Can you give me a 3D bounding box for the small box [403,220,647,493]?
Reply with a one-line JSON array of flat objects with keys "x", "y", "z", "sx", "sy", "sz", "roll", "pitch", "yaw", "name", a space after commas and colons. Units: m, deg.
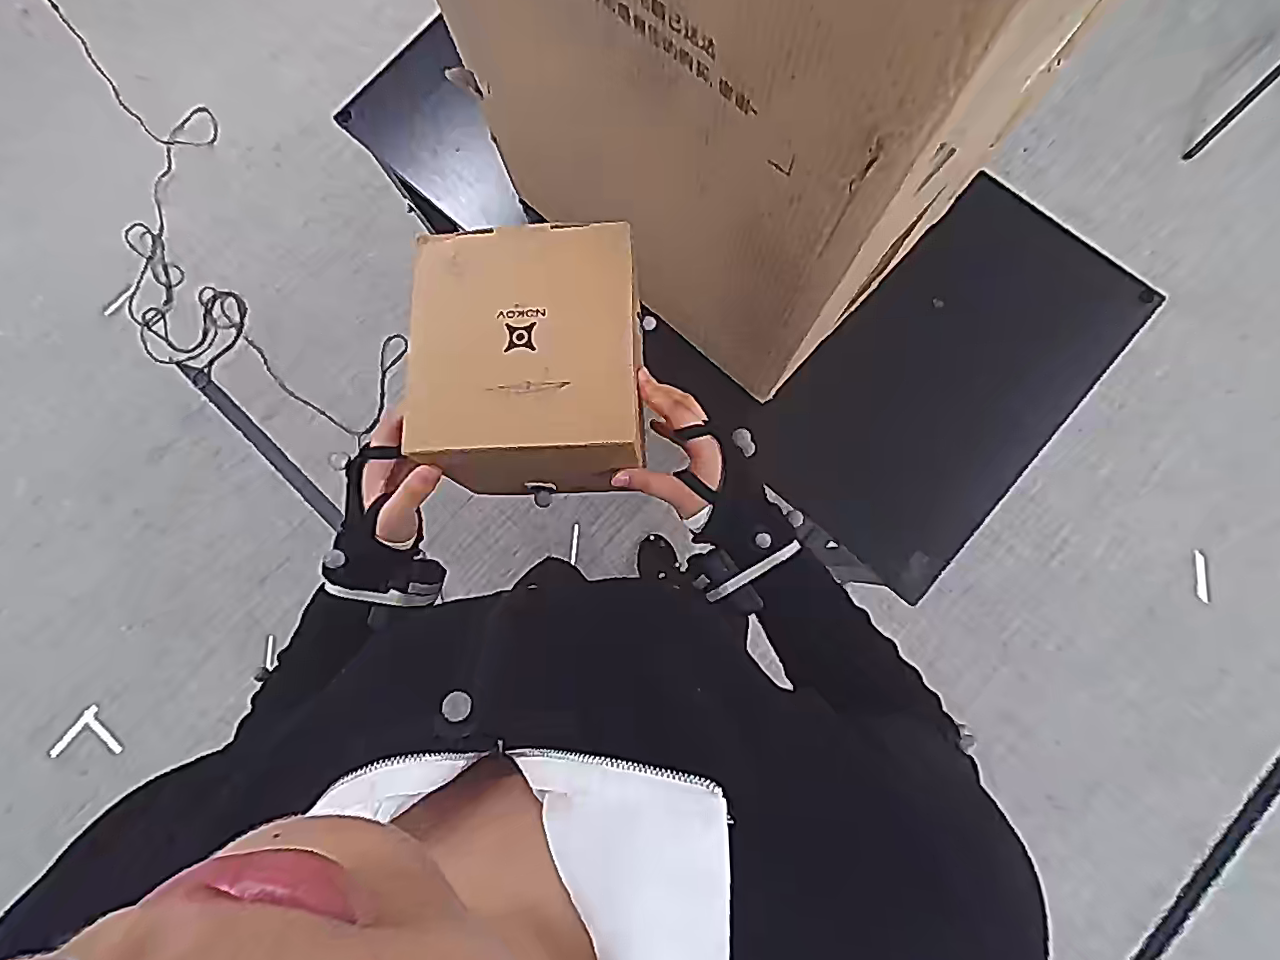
[{"x": -0.080, "y": -0.091, "z": 0.465, "sx": 0.168, "sy": 0.176, "sz": 0.179, "roll": -2, "pitch": 78, "yaw": 3, "name": "small box"}]
